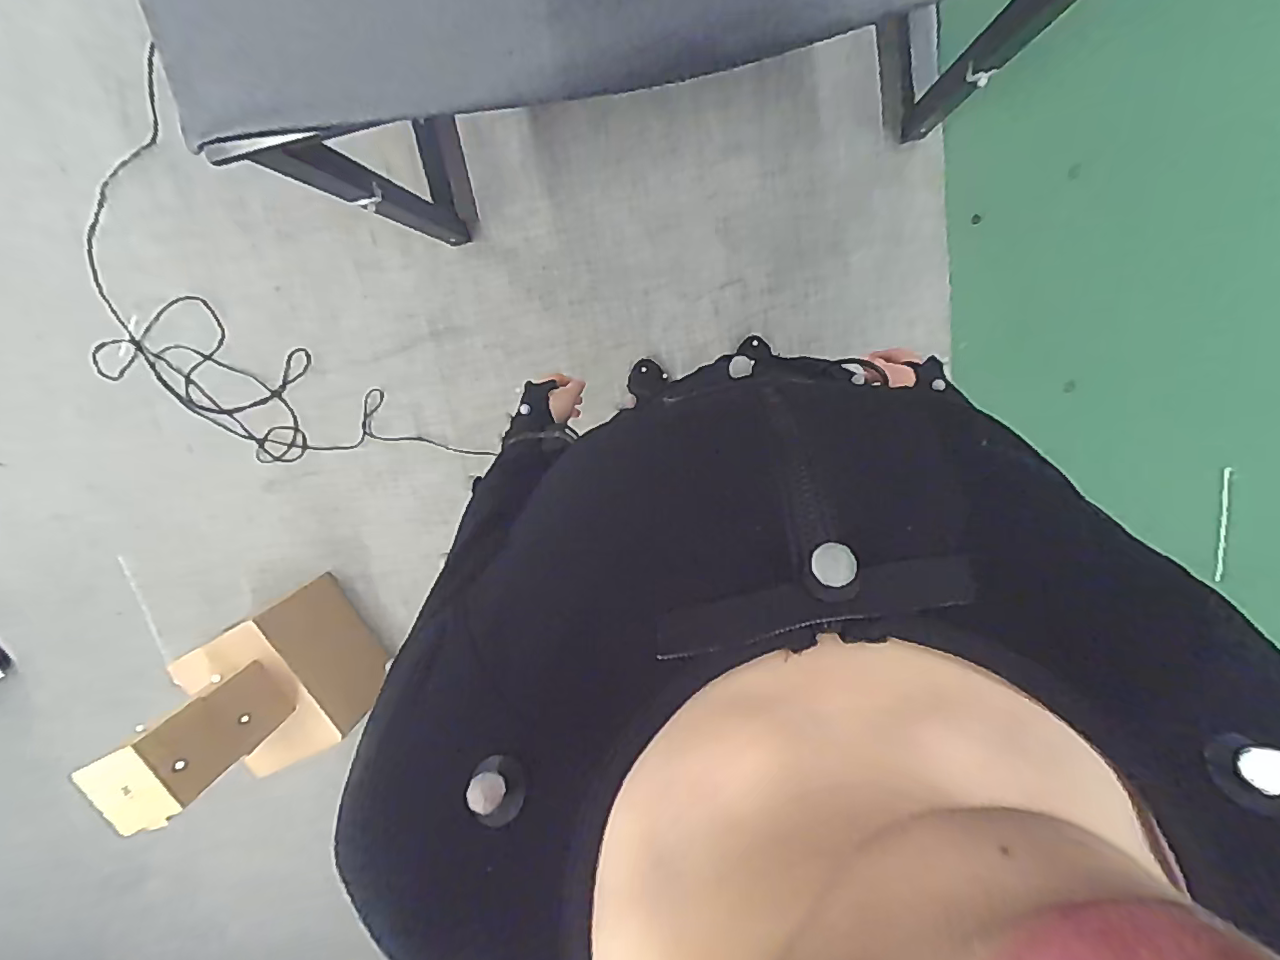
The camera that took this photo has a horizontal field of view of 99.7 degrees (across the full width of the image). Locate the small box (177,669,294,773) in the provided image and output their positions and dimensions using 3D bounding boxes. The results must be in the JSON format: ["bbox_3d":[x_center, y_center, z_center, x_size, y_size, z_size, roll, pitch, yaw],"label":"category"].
[{"bbox_3d":[-1.014,0.607,1.340,0.168,0.176,0.179,-27,99,9],"label":"small box"}]

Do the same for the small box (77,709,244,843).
[{"bbox_3d":[-1.032,0.631,1.179,0.168,0.176,0.179,-27,100,9],"label":"small box"}]
